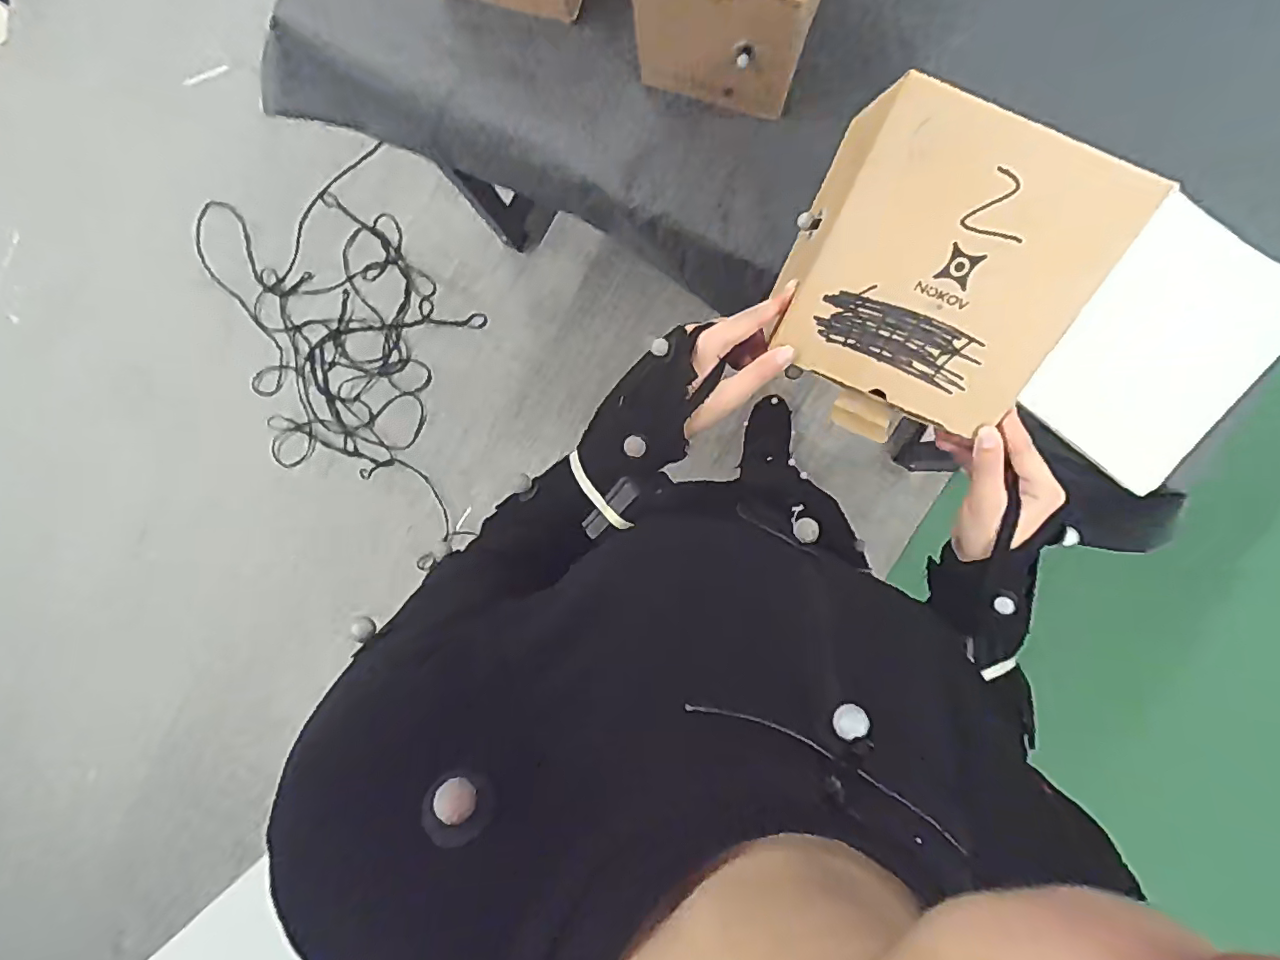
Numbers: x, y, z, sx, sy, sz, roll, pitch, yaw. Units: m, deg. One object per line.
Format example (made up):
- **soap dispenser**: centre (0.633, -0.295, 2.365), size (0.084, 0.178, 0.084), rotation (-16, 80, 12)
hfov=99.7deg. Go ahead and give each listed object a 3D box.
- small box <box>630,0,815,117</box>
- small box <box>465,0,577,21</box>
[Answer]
- **small box**: centre (0.095, -0.510, 0.537), size (0.168, 0.176, 0.179), rotation (19, 92, 4)
- **small box**: centre (-0.149, -0.631, 0.558), size (0.179, 0.176, 0.168), rotation (17, 92, 4)
